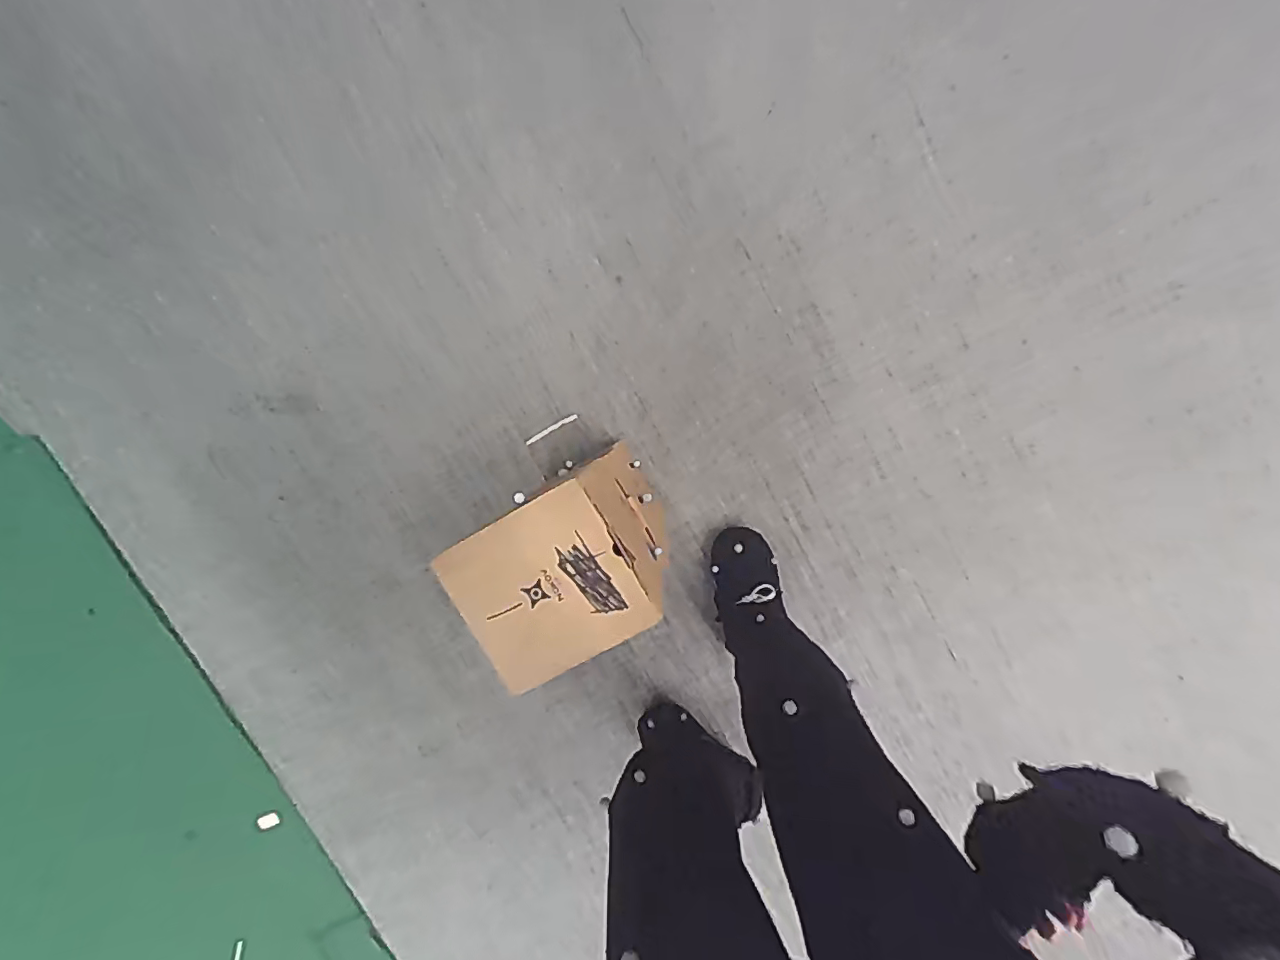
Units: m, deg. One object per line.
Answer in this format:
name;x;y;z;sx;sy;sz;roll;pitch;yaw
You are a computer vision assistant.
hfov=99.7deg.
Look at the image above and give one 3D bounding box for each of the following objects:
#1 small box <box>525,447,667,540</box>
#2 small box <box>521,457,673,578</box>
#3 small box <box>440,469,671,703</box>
small box;-0.065;0.055;0.933;0.179;0.176;0.168;-29;95;9
small box;-0.068;0.079;0.771;0.179;0.176;0.168;-30;95;7
small box;-0.082;0.103;0.609;0.179;0.176;0.168;-32;95;6
